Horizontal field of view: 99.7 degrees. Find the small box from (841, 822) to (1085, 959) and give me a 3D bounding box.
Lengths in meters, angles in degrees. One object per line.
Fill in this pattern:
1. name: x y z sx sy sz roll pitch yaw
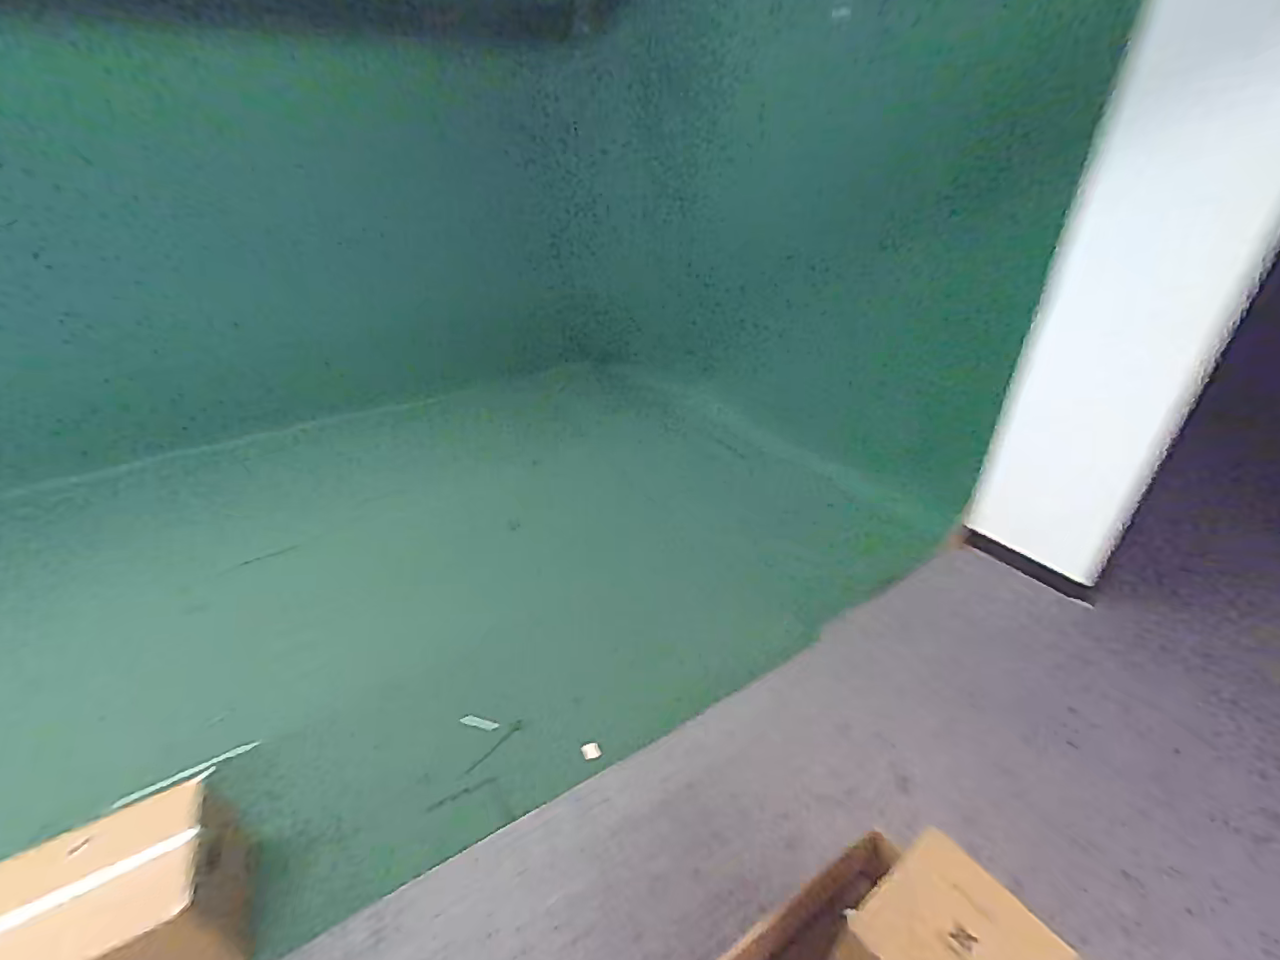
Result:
1. small box: 0.355 0.557 0.624 0.179 0.176 0.168 -22 38 -28
